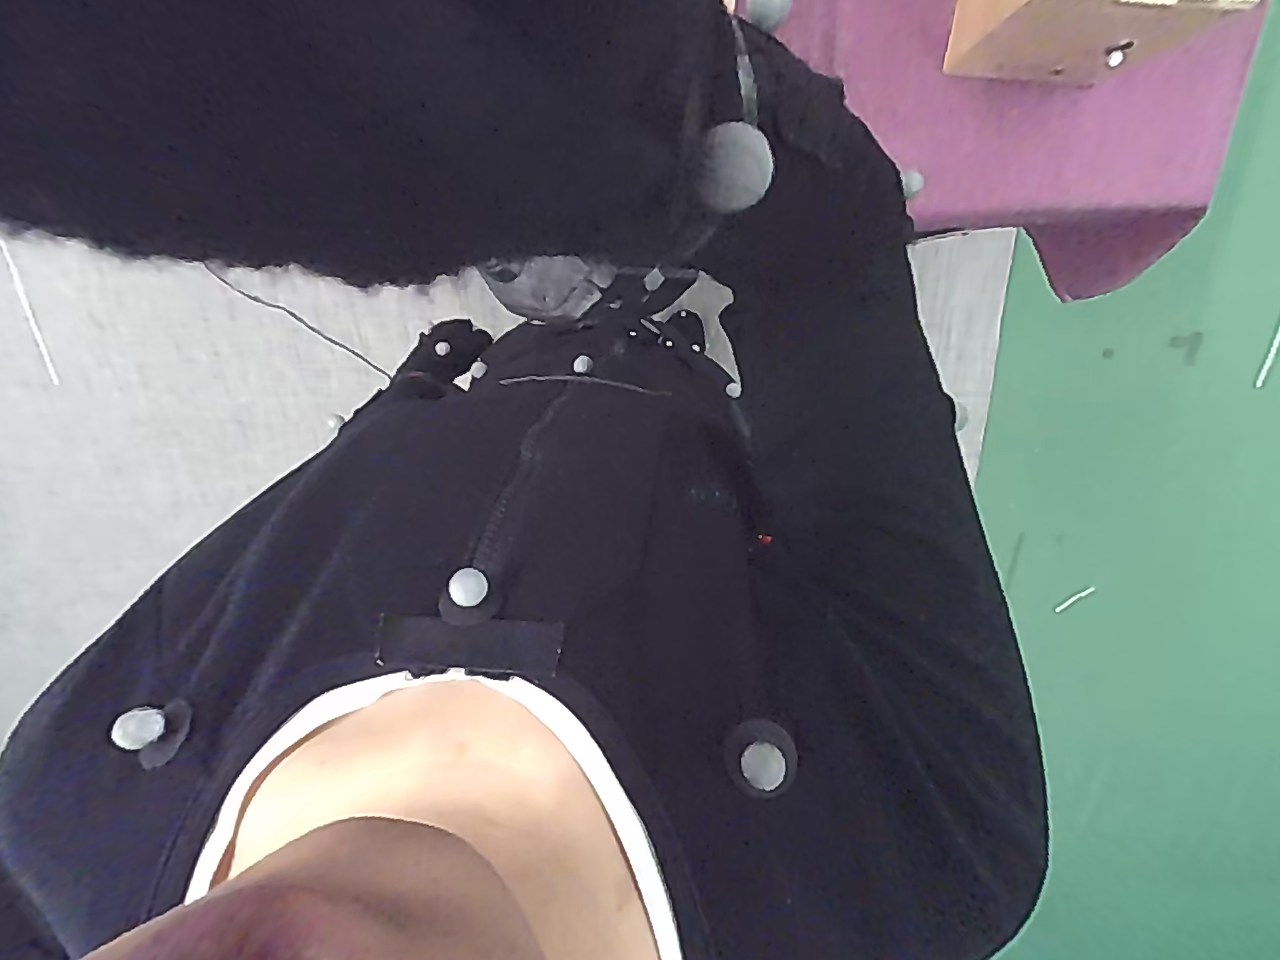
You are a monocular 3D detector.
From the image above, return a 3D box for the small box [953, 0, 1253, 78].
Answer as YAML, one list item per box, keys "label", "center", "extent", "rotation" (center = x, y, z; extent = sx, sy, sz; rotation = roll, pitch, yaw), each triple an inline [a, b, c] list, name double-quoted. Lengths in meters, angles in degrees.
- label: "small box"
  center: [0.404, -0.479, 0.464]
  extent: [0.168, 0.176, 0.179]
  rotation: [6, 109, 1]
